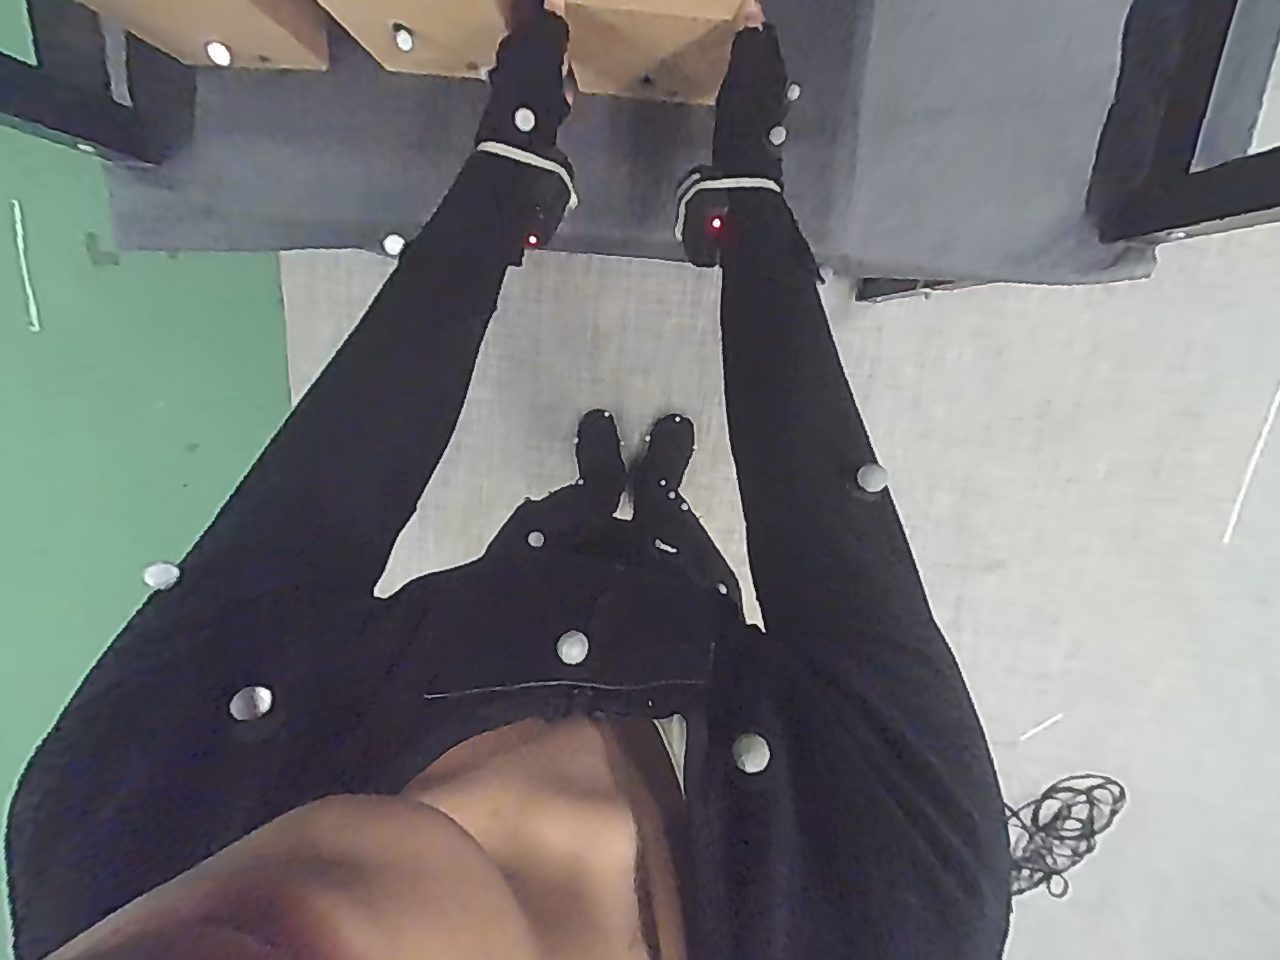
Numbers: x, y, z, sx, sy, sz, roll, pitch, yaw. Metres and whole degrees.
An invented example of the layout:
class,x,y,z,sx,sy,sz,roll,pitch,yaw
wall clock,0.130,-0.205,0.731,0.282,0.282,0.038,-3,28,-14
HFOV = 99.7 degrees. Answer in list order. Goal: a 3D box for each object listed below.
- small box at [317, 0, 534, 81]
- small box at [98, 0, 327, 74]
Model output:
class,x,y,z,sx,sy,sz,roll,pitch,yaw
small box,-0.194,-0.505,0.498,0.168,0.176,0.179,5,104,0
small box,-0.420,-0.519,0.498,0.168,0.176,0.179,3,104,1
